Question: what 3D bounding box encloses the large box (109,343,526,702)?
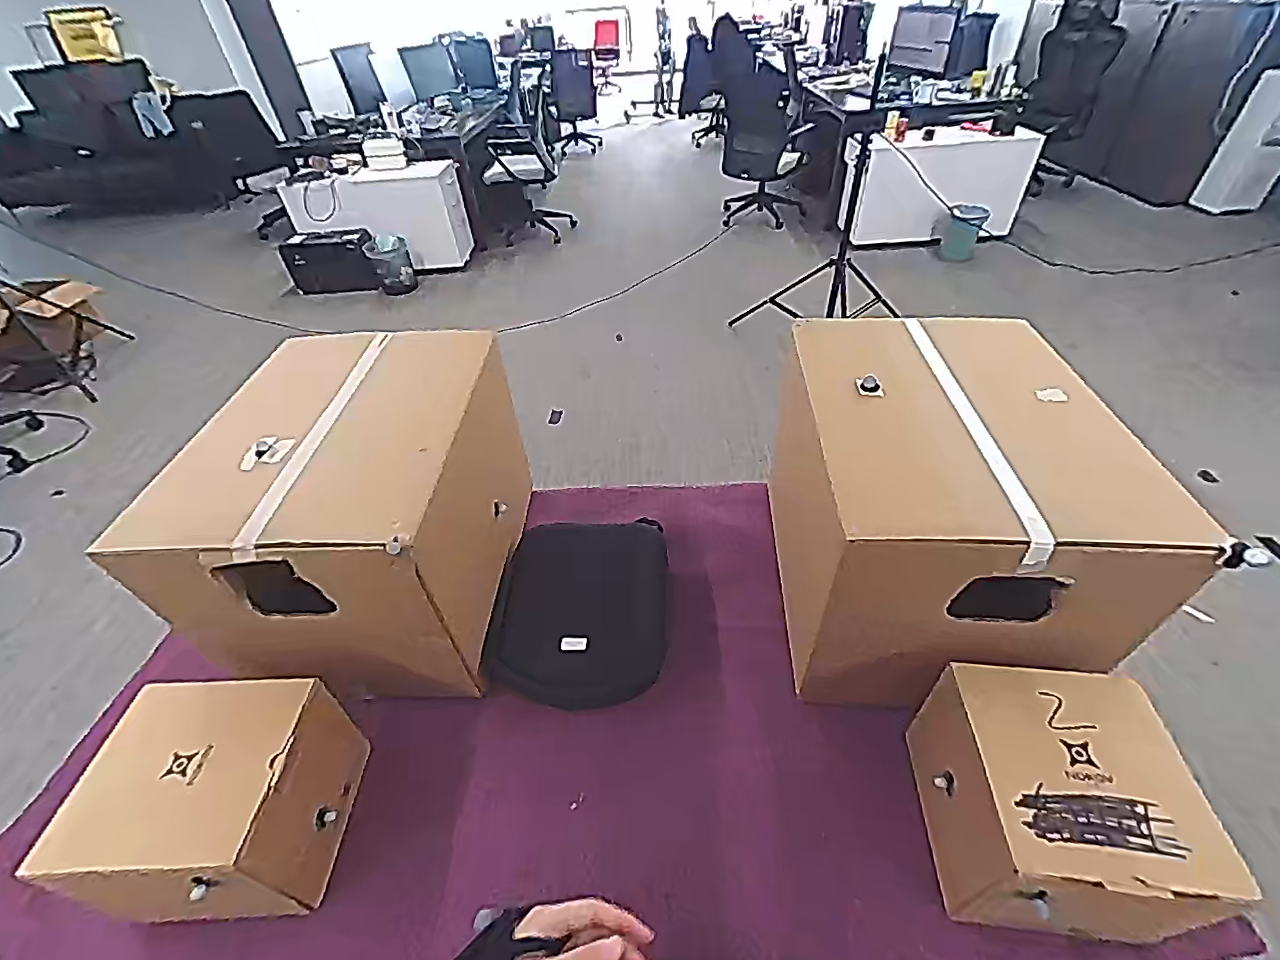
[{"bbox_3d":[-0.358,0.049,0.758,0.320,0.320,0.408,-3,45,2],"label":"large box"}]
